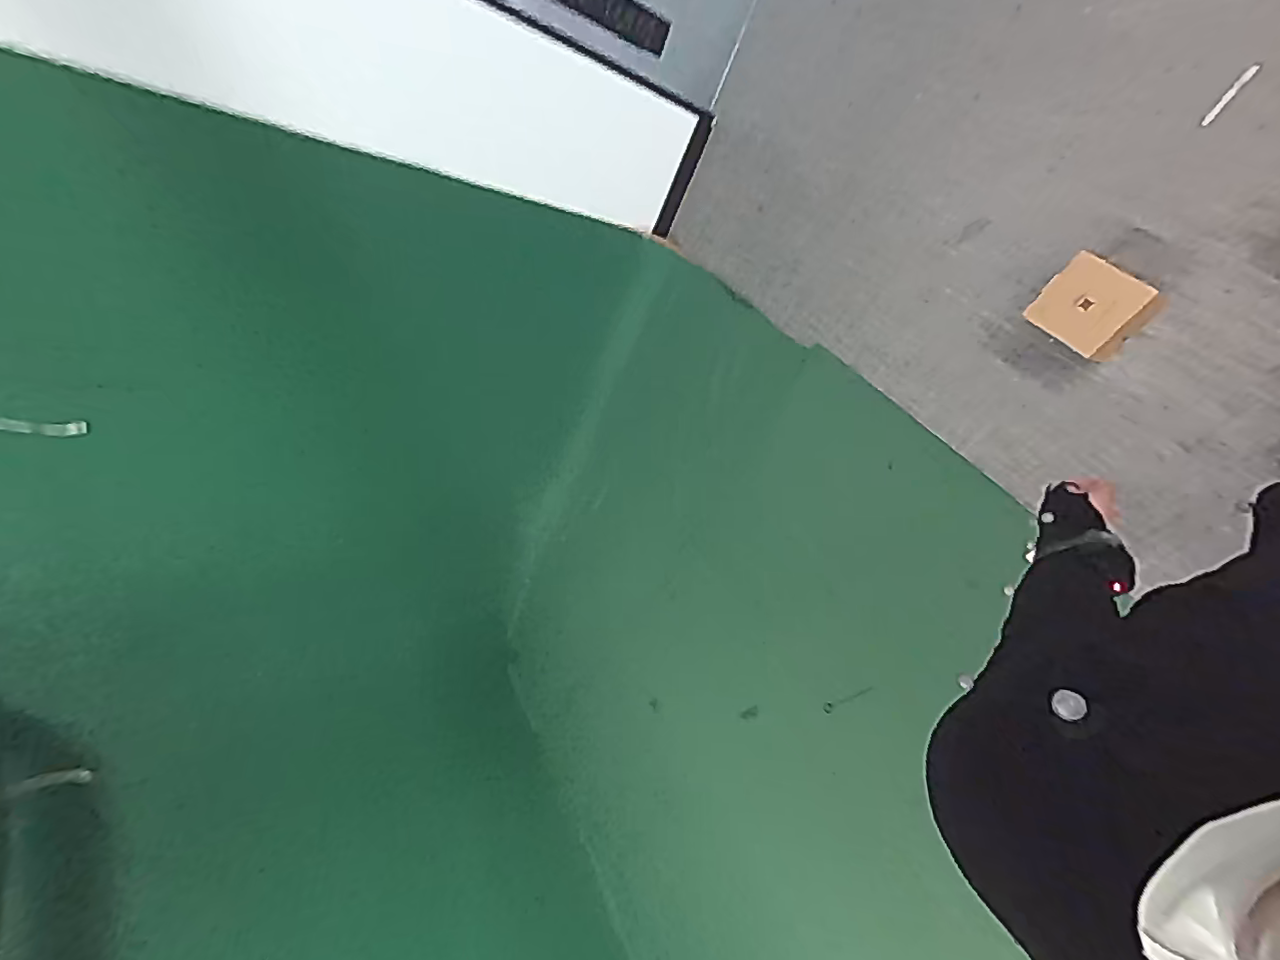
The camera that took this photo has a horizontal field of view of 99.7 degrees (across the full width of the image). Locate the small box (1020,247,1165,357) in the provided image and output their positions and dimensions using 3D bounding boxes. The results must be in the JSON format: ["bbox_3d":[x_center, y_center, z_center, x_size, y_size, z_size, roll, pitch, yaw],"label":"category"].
[{"bbox_3d":[1.020,-0.392,1.221,0.179,0.176,0.168,56,133,30],"label":"small box"}]
